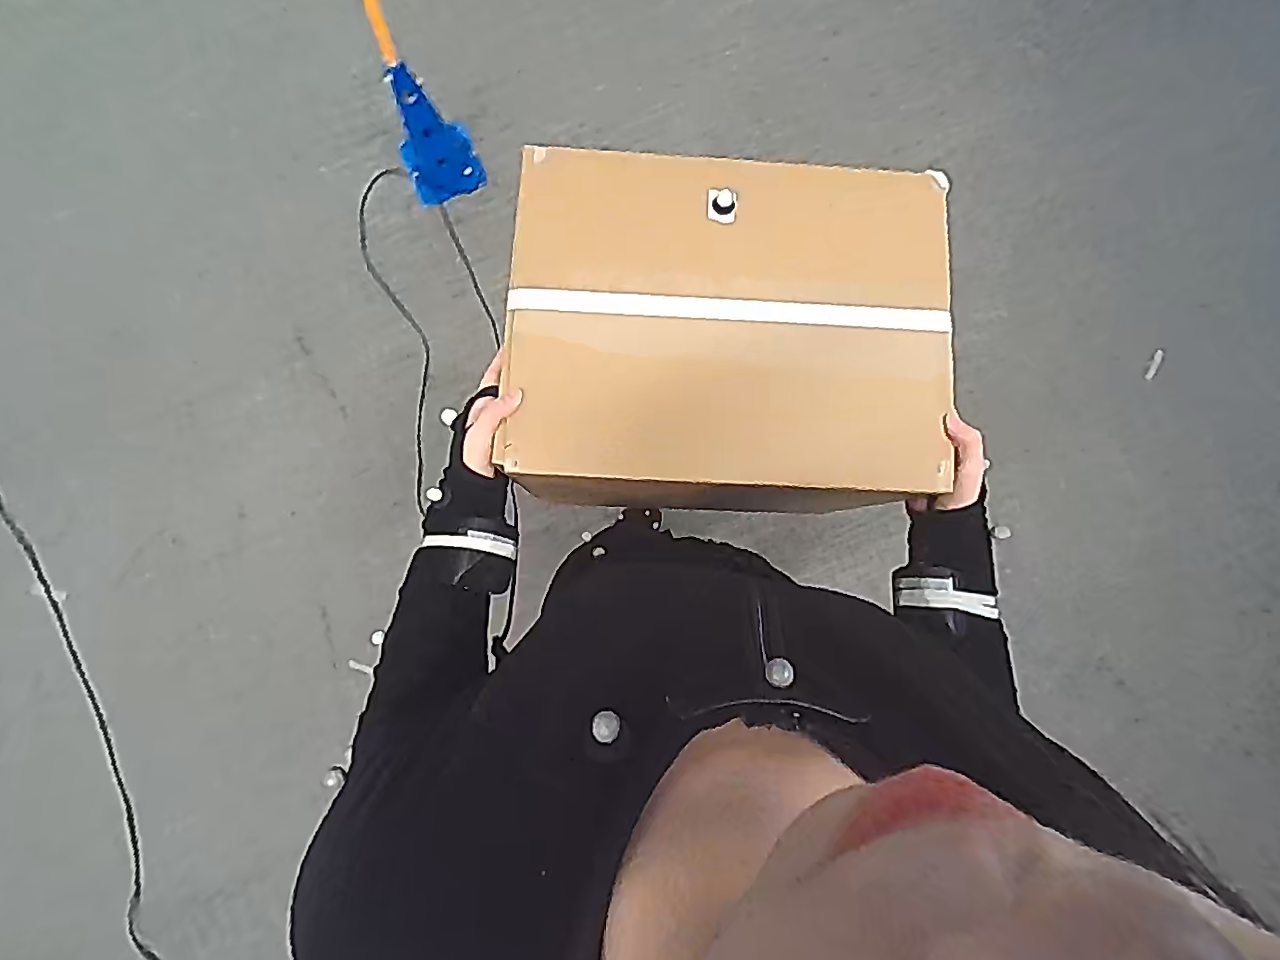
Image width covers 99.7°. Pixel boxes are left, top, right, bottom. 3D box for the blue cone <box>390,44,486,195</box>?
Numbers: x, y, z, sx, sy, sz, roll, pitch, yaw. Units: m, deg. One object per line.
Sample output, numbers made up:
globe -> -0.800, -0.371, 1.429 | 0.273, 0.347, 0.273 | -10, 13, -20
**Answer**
blue cone -> -0.531, -0.908, 1.329 | 0.193, 0.380, 0.192 | -25, 90, -5
